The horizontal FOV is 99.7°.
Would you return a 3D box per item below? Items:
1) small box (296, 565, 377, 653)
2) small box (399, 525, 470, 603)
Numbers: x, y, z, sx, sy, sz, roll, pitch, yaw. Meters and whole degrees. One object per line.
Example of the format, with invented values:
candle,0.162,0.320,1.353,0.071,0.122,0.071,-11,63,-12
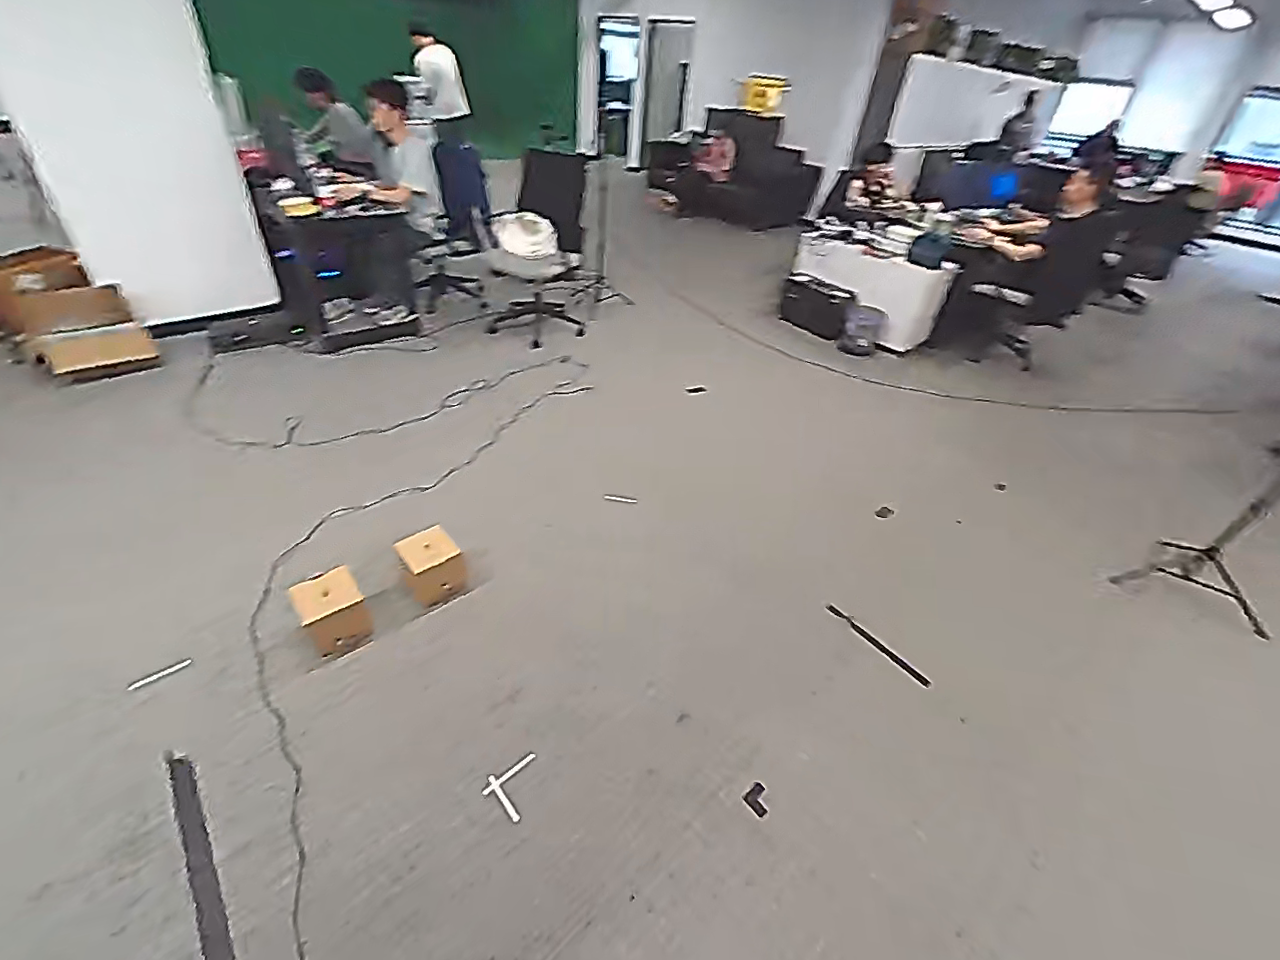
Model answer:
small box,-0.952,0.406,1.701,0.168,0.176,0.179,-23,47,-32
small box,-0.710,0.293,1.878,0.168,0.176,0.179,-26,49,-35
